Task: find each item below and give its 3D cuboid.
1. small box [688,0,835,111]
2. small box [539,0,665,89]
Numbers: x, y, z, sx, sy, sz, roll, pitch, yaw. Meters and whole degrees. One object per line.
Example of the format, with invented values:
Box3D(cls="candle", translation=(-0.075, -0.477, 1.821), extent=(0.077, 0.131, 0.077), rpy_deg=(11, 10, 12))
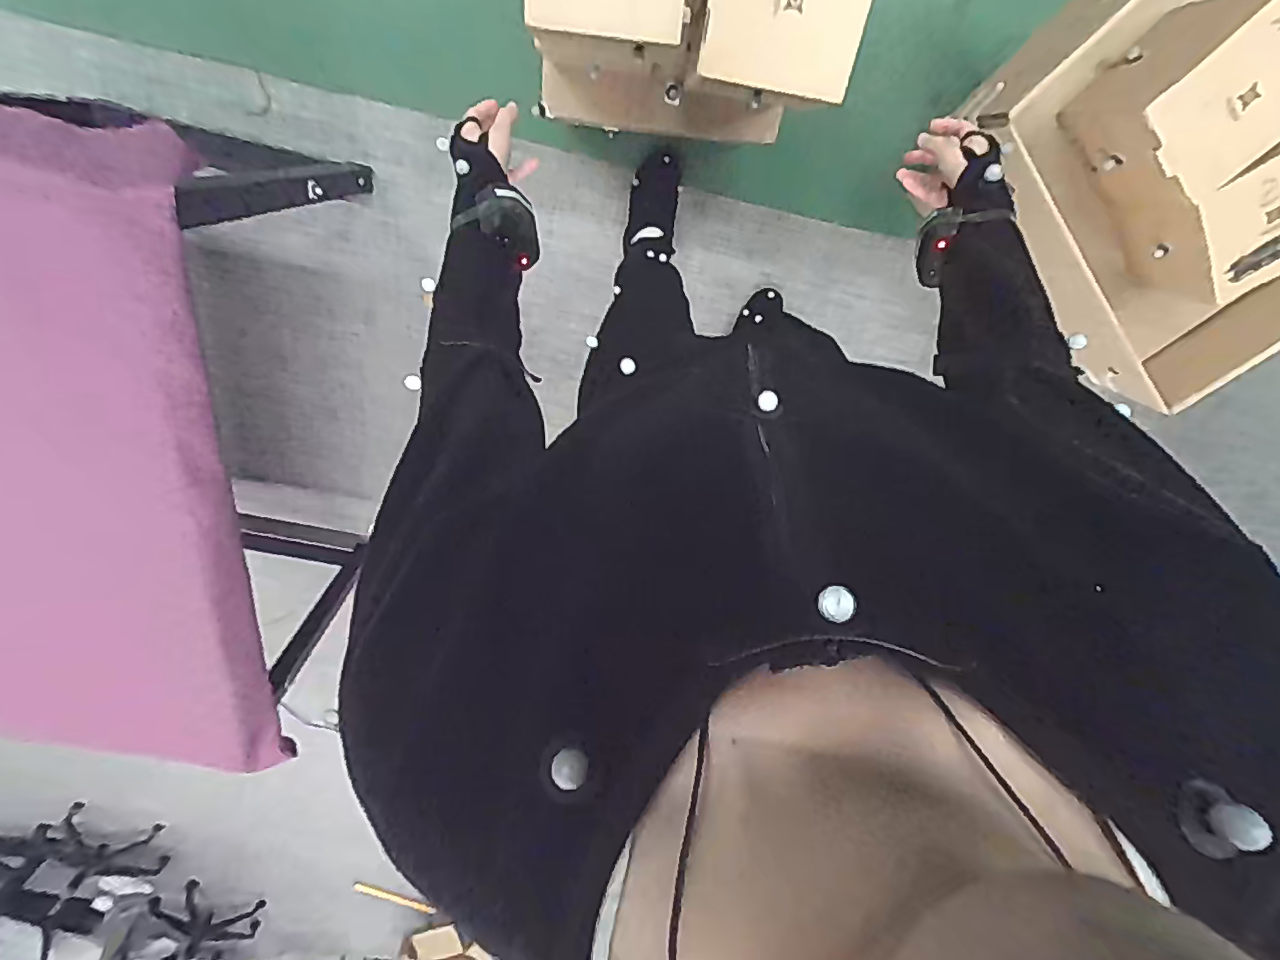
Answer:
Box3D(cls="small box", translation=(0.168, -0.650, 0.790), extent=(0.179, 0.176, 0.168), rpy_deg=(5, 121, -2))
Box3D(cls="small box", translation=(-0.049, -0.684, 0.772), extent=(0.168, 0.176, 0.179), rpy_deg=(6, 121, -3))
